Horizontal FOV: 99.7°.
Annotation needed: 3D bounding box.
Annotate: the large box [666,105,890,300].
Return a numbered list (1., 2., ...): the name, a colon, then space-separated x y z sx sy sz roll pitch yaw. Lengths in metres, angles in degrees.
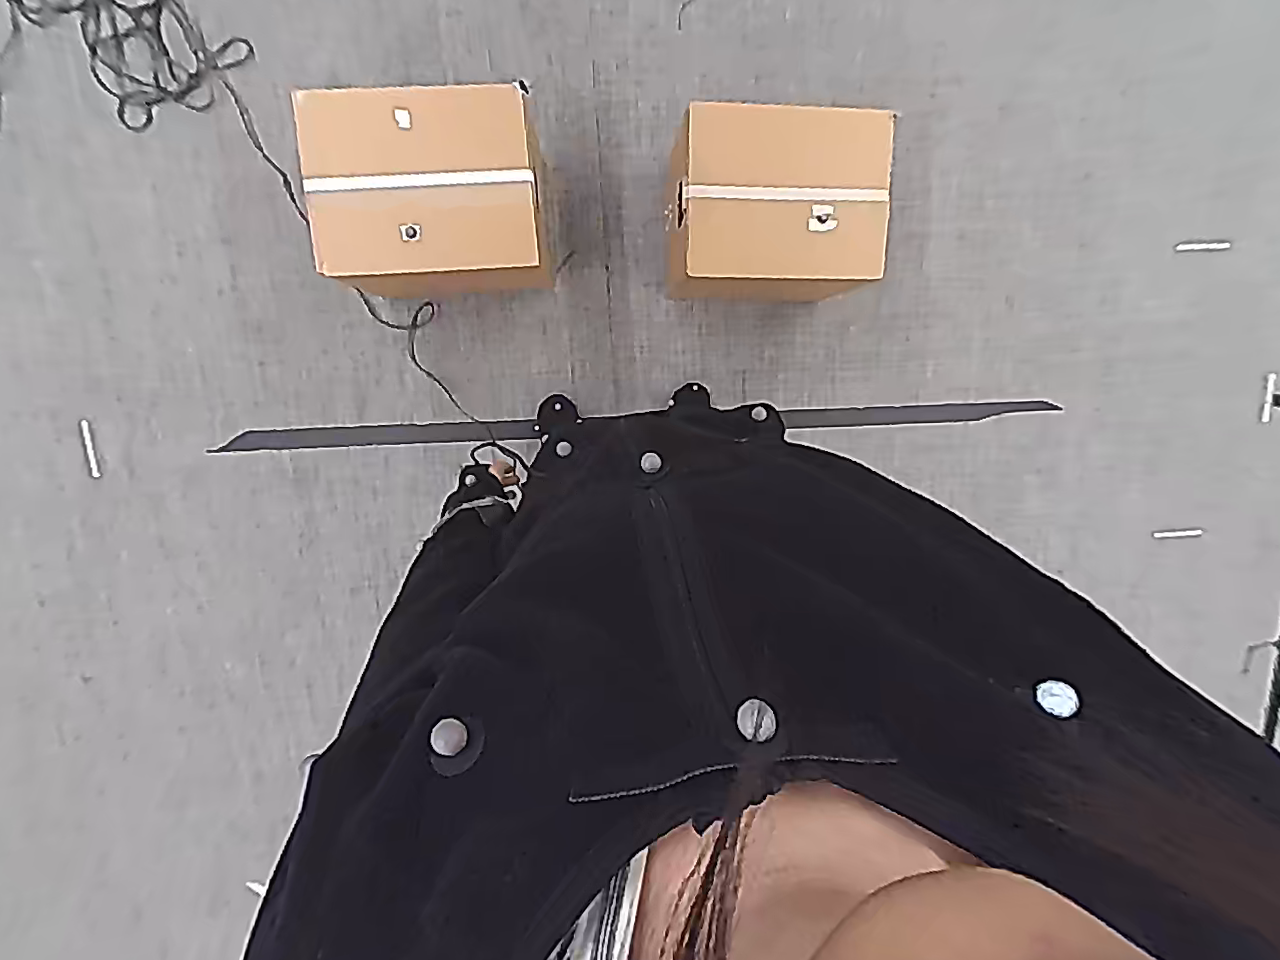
1. large box: 0.277 -0.585 1.205 0.408 0.320 0.320 -1 101 -6
